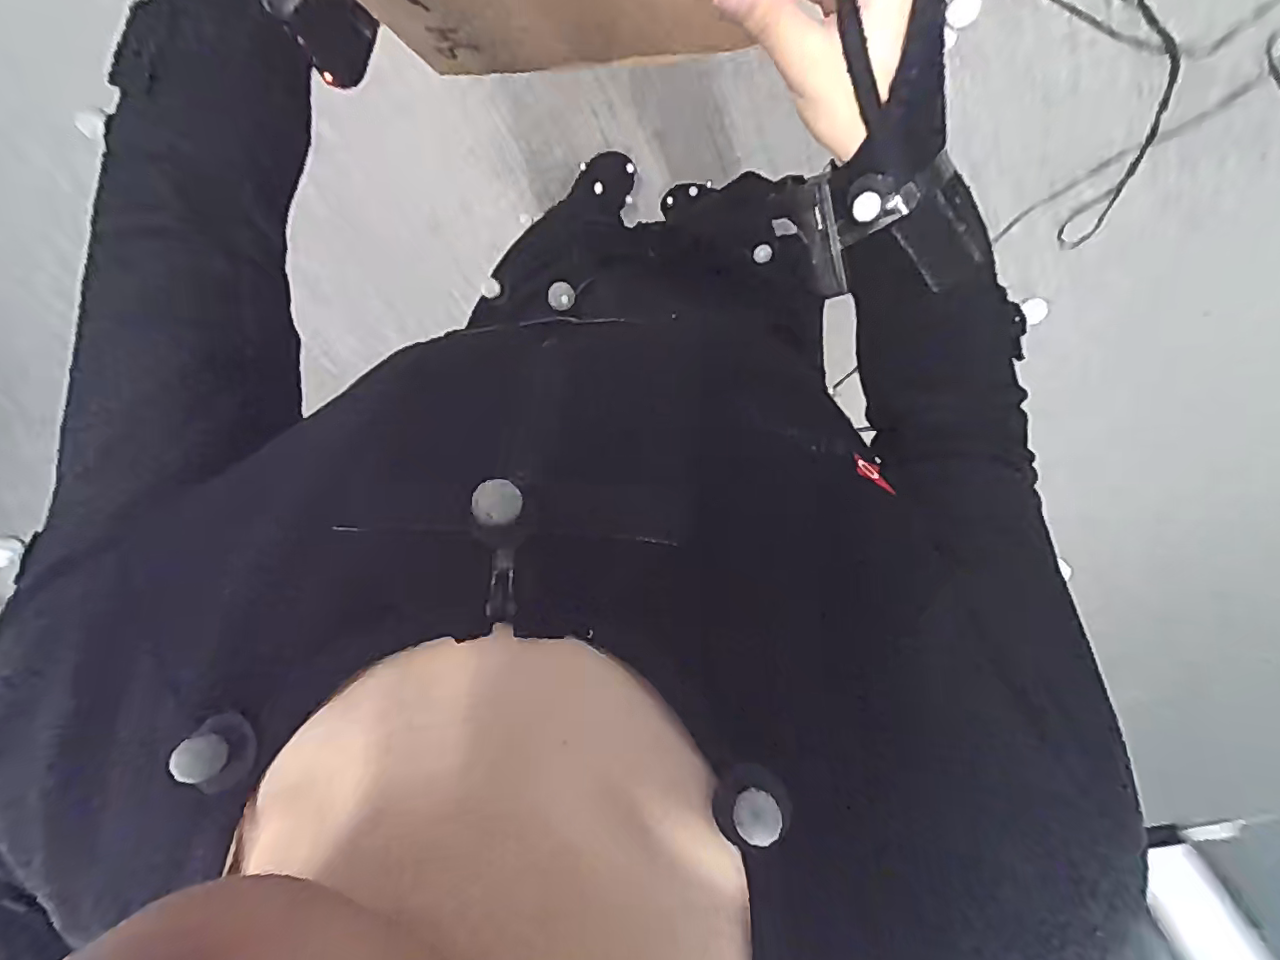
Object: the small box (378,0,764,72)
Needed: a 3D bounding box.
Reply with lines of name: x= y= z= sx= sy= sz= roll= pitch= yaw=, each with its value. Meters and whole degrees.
small box: x=-0.040 y=-0.291 z=0.194 sx=0.179 sy=0.168 sz=0.176 roll=6 pitch=99 yaw=13
